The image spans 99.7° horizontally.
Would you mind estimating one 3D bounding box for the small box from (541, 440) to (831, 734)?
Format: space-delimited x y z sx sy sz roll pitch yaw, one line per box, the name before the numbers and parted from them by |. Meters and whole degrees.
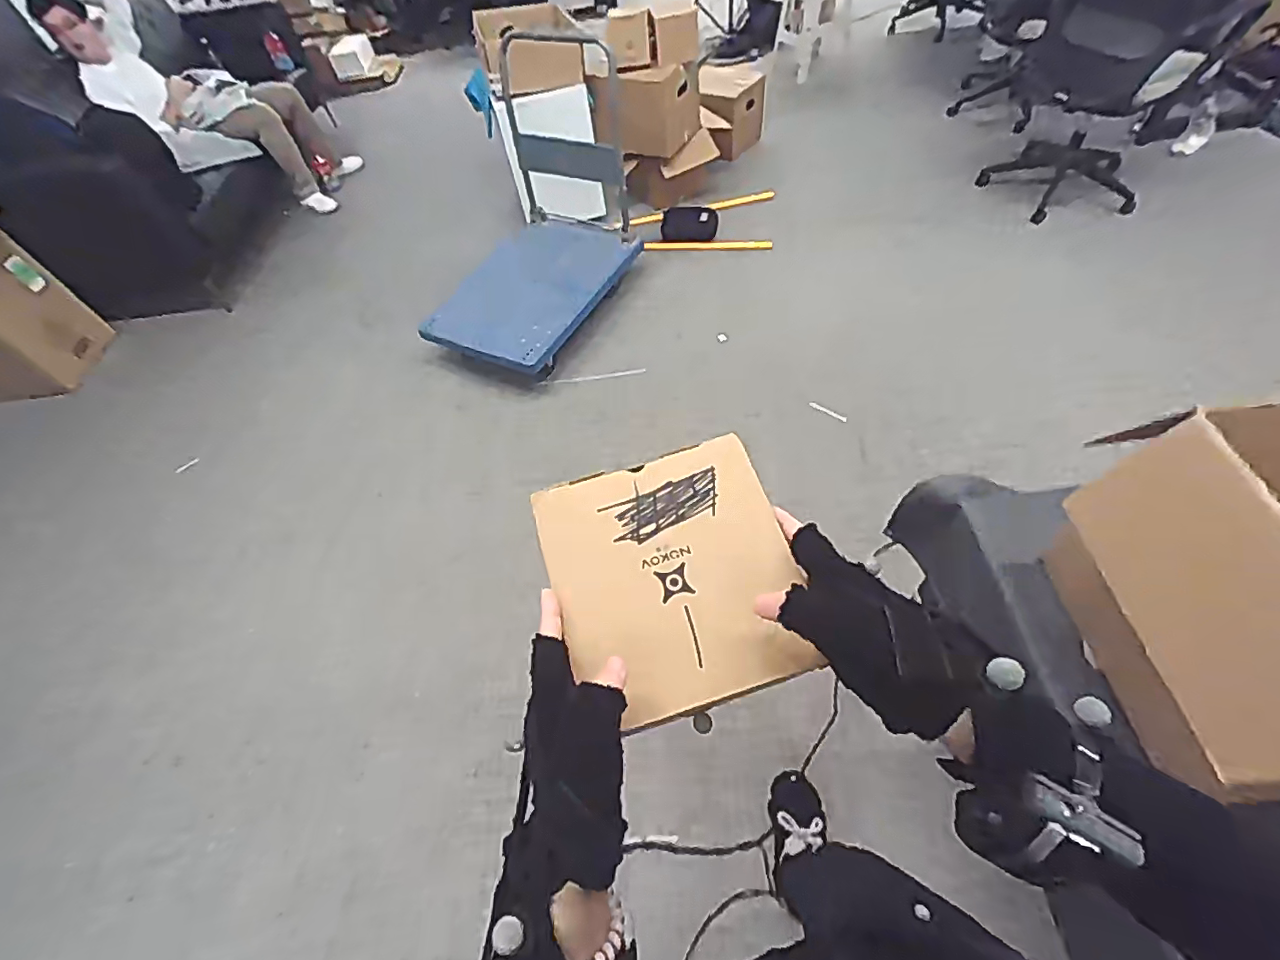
small box | 0.027 0.098 0.451 0.168 0.176 0.179 -16 65 -5
